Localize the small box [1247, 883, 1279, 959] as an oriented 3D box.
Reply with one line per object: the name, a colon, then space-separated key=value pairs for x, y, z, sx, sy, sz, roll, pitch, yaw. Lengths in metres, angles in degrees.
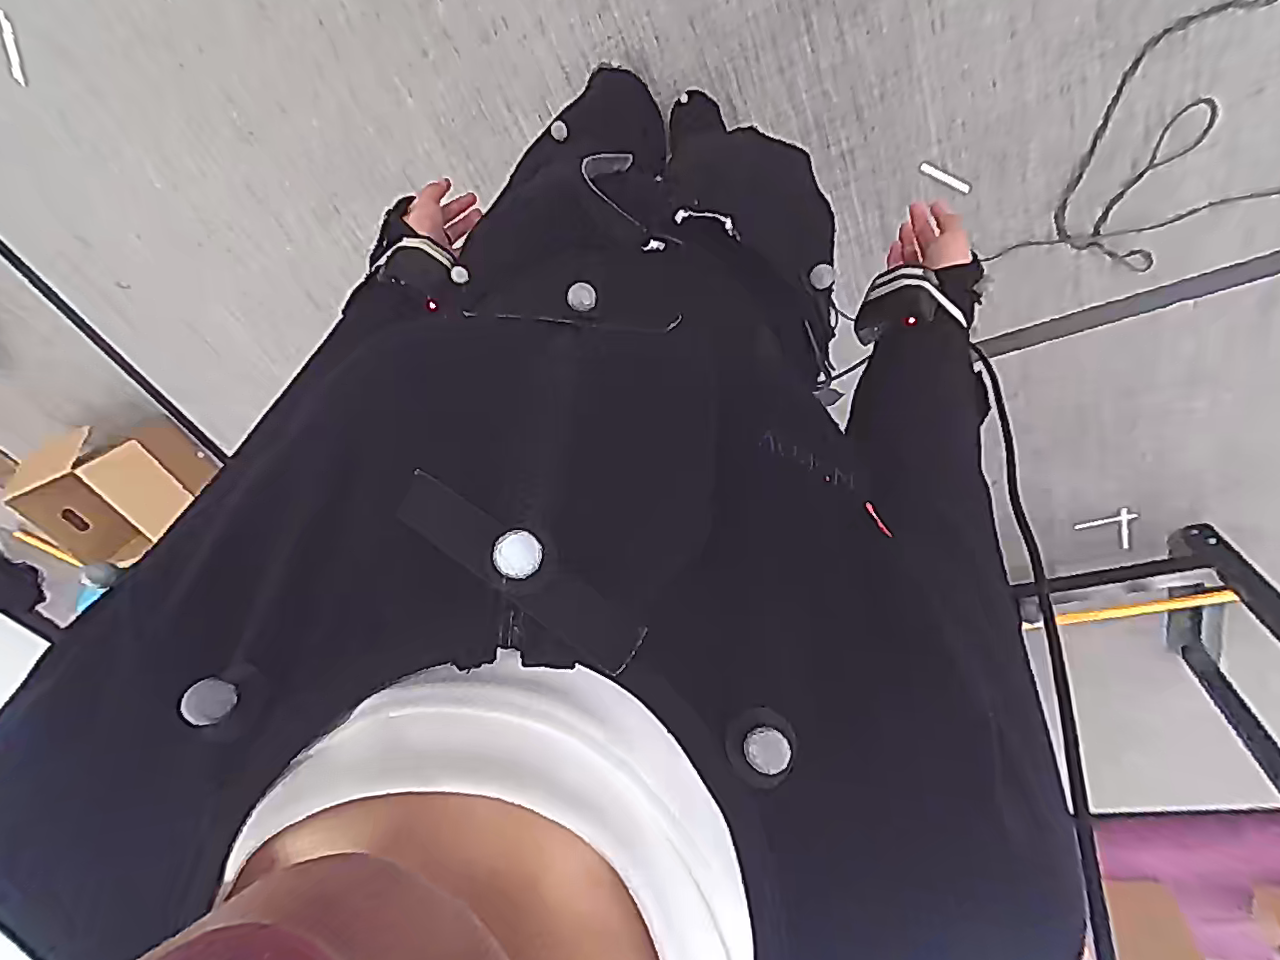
small box: x=1.234 y=0.835 z=0.949 sx=0.179 sy=0.176 sz=0.168 roll=-18 pitch=122 yaw=26
